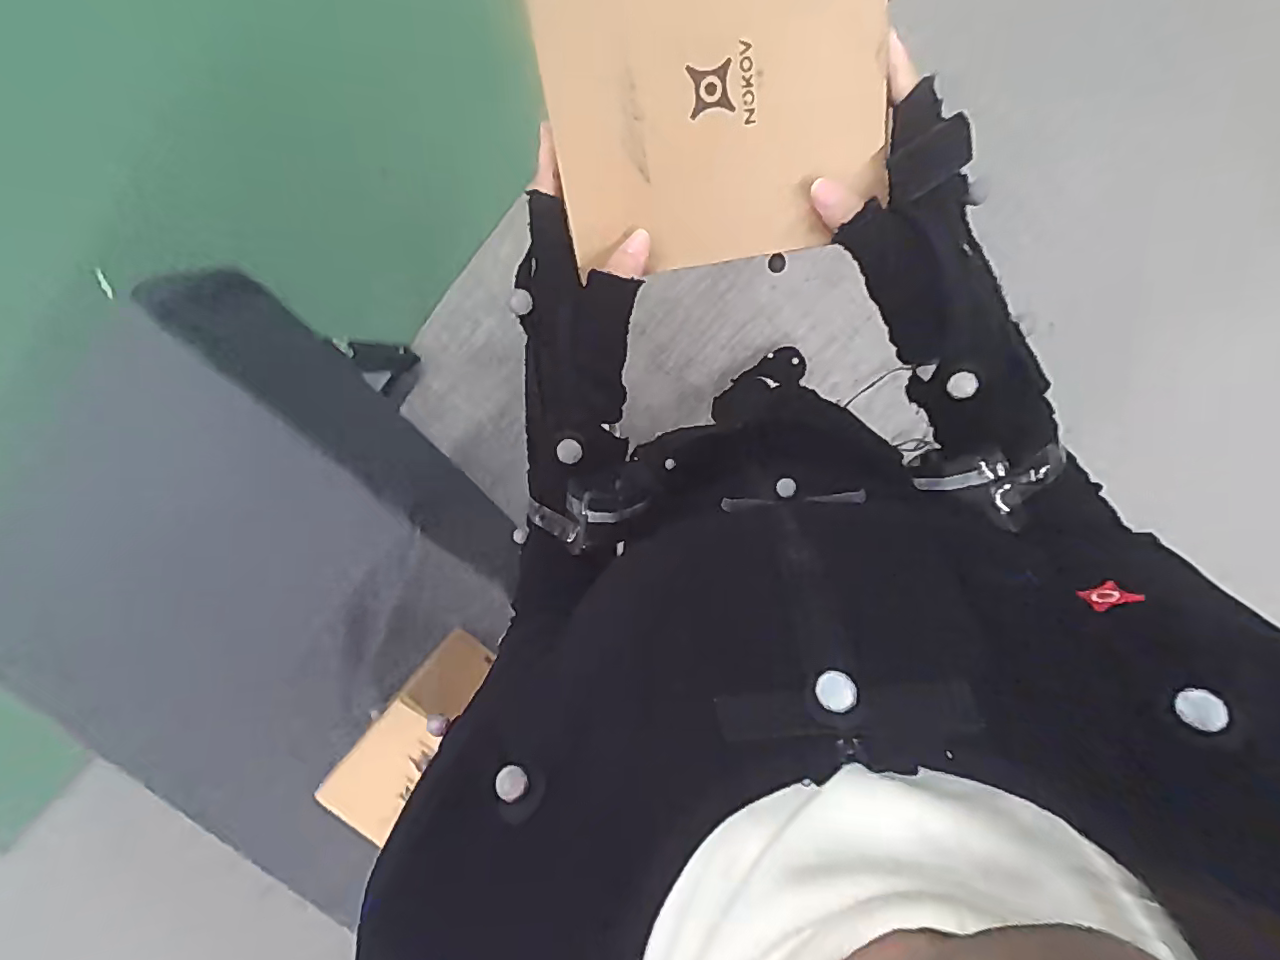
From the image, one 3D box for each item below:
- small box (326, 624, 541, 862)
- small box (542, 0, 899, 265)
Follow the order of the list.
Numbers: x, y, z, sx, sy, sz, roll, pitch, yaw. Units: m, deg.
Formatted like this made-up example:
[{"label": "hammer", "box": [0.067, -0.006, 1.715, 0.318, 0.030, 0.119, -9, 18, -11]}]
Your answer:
[{"label": "small box", "box": [-0.244, 0.320, 0.692, 0.168, 0.176, 0.179, 38, 100, -5]}, {"label": "small box", "box": [0.043, -0.240, 0.348, 0.179, 0.176, 0.168, -8, 112, 4]}]
